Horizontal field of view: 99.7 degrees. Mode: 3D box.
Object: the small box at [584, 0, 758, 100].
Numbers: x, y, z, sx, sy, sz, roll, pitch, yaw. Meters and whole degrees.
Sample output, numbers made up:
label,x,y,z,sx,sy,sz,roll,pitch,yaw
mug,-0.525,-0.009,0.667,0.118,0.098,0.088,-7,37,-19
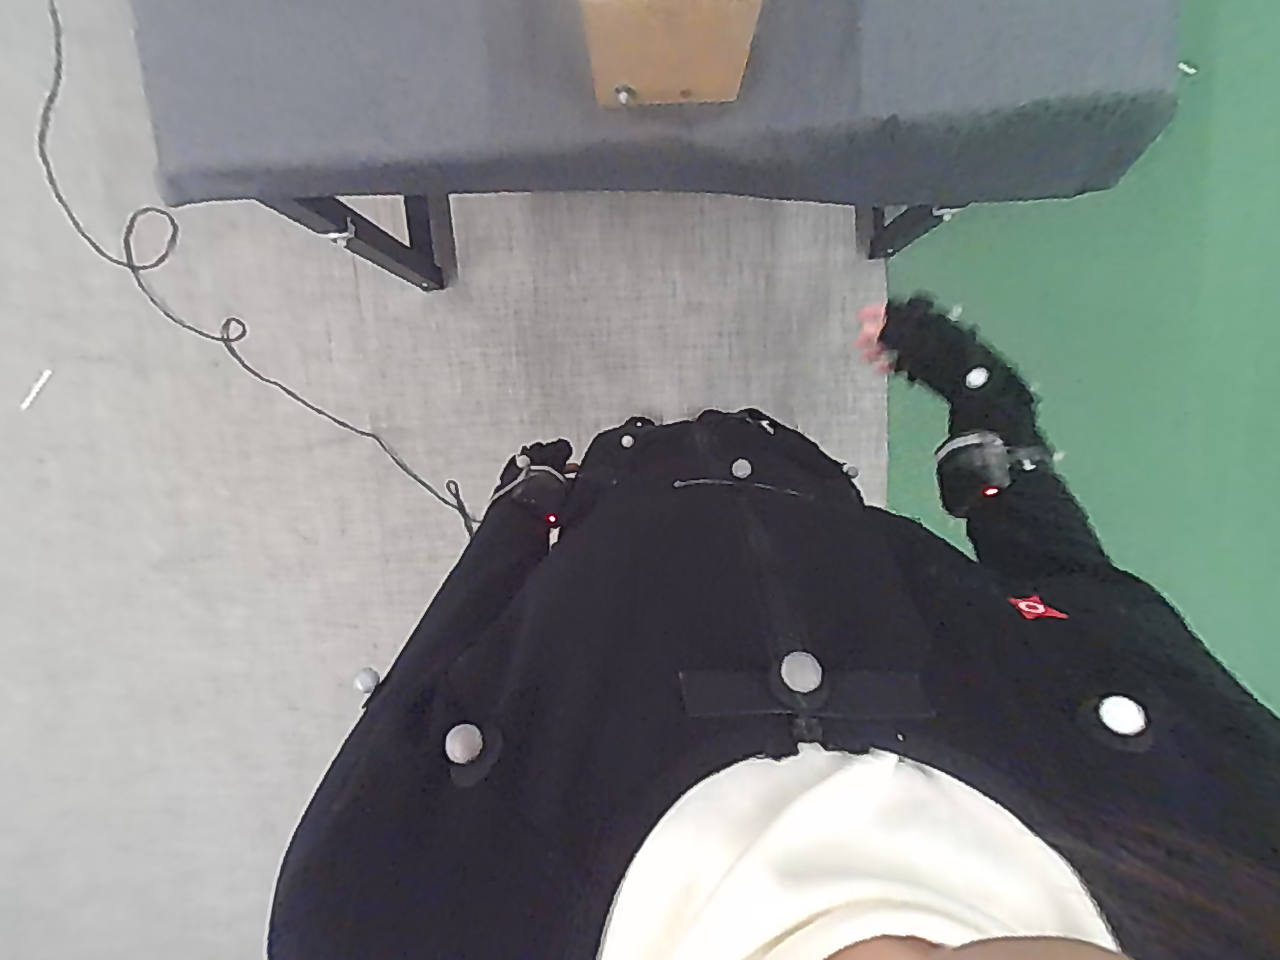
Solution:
label,x,y,z,sx,sy,sz,roll,pitch,yaw
small box,0.032,-0.529,0.559,0.168,0.176,0.179,0,96,0
